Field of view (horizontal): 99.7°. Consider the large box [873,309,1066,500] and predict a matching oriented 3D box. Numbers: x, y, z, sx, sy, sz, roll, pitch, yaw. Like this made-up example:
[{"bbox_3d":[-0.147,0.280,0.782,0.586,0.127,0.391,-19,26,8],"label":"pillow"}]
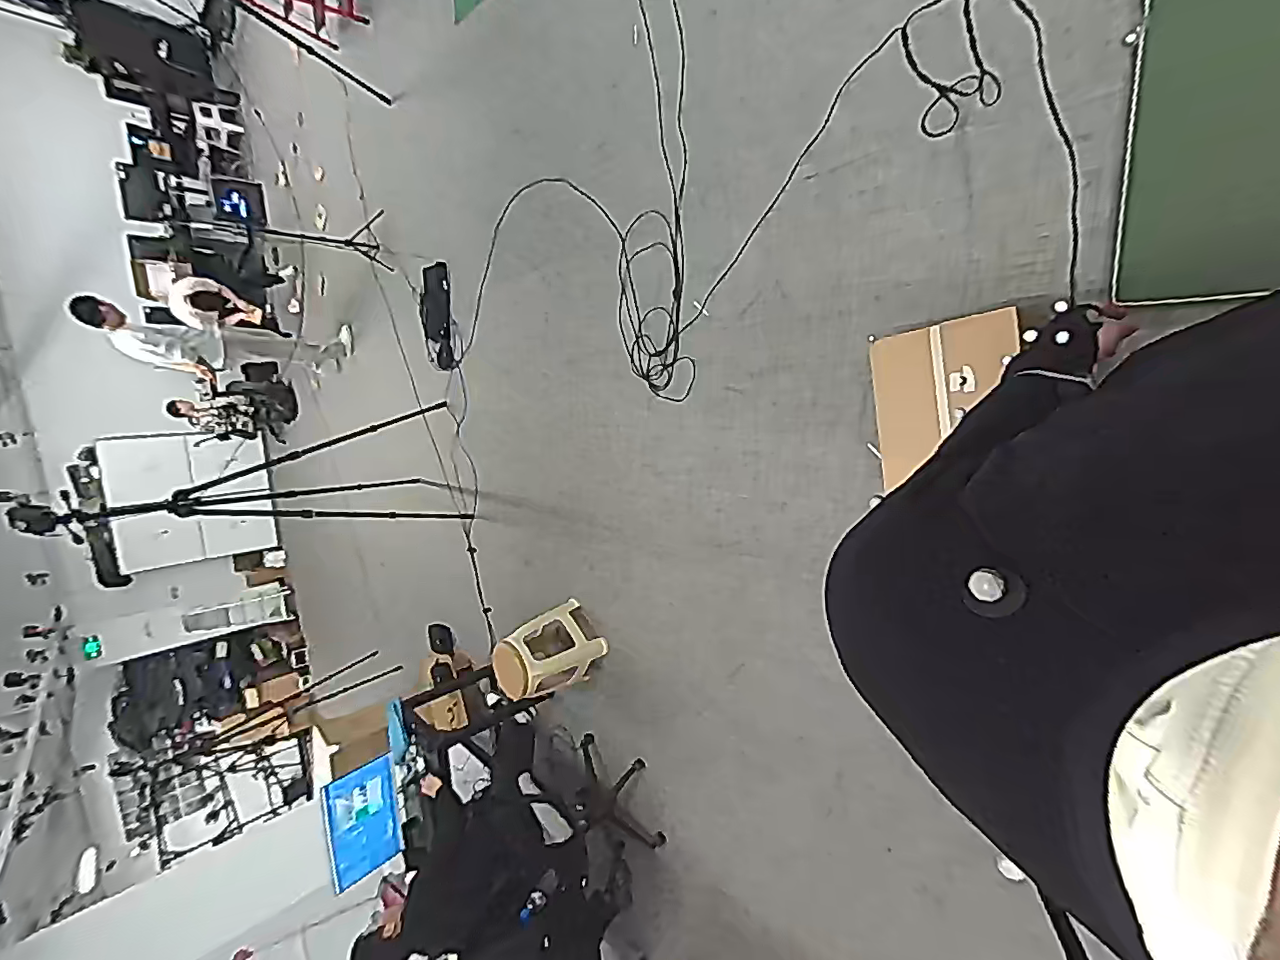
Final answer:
[{"bbox_3d":[0.823,-0.172,1.350,0.320,0.320,0.408,-5,93,47],"label":"large box"}]
